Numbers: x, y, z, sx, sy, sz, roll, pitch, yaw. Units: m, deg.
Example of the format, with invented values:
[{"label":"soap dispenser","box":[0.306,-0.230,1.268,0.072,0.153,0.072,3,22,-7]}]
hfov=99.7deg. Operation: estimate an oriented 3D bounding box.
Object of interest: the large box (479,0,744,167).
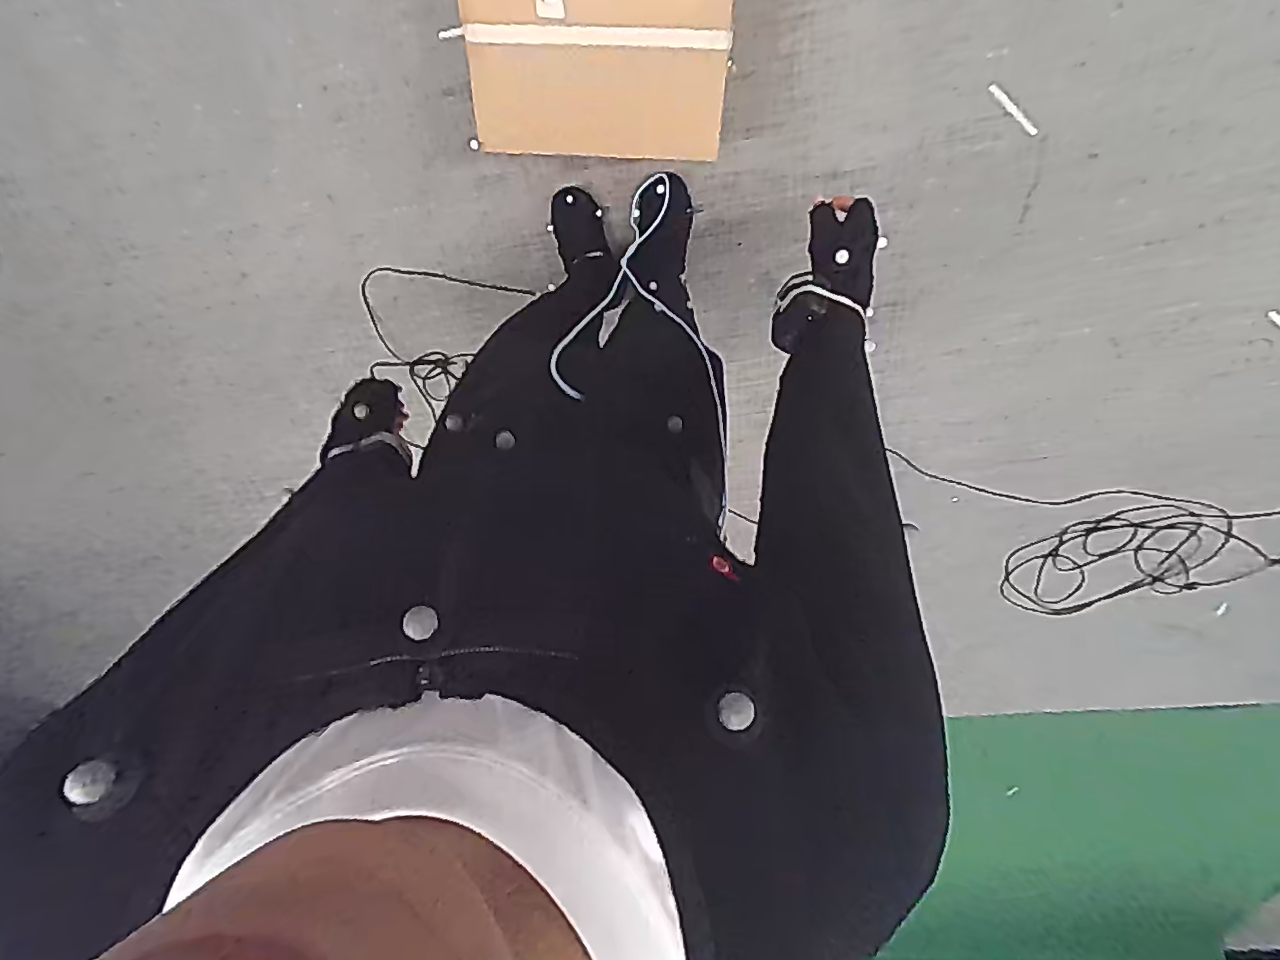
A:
[{"label":"large box","box":[-0.032,-0.755,0.953,0.408,0.320,0.320,4,126,3]}]
